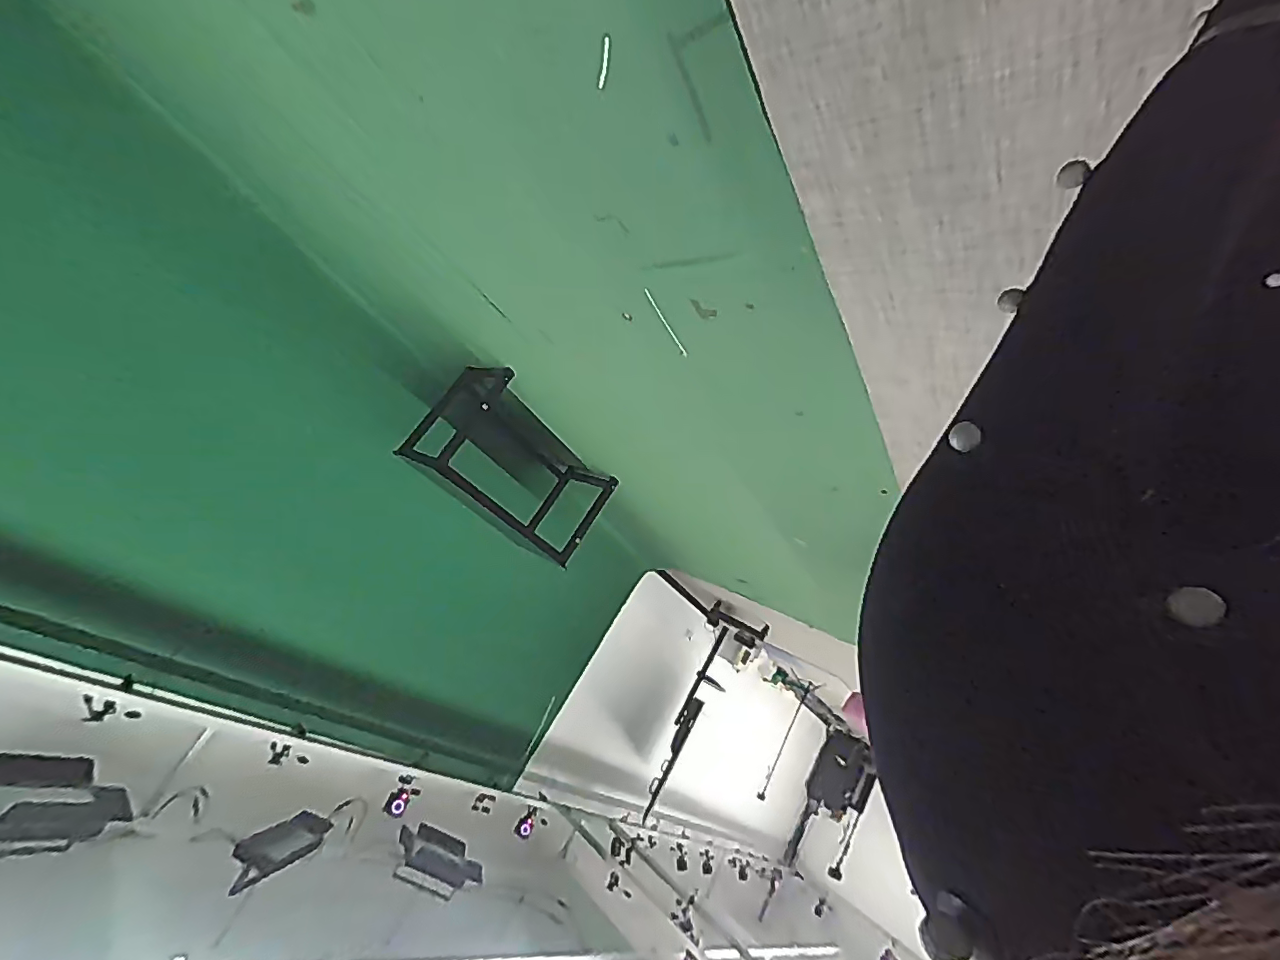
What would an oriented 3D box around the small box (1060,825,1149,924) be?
[{"bbox_3d":[1.341,1.136,1.564,0.168,0.176,0.179,14,157,45],"label":"small box"}]
